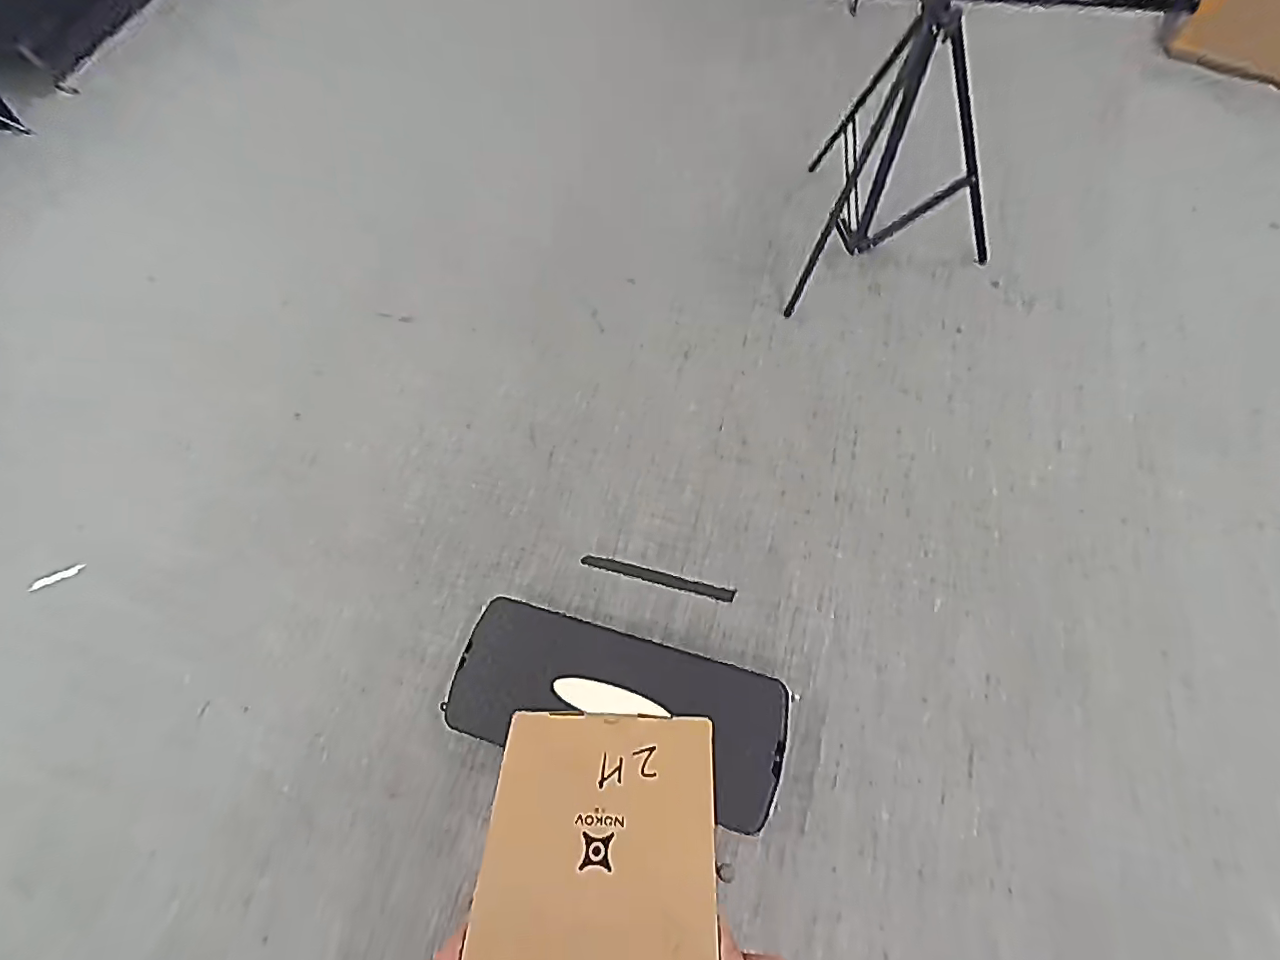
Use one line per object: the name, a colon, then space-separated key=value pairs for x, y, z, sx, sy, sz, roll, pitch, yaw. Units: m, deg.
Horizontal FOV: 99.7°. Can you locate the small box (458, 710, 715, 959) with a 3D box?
small box: x=-0.024 y=0.308 z=0.437 sx=0.168 sy=0.176 sz=0.179 roll=0 pitch=46 yaw=5
